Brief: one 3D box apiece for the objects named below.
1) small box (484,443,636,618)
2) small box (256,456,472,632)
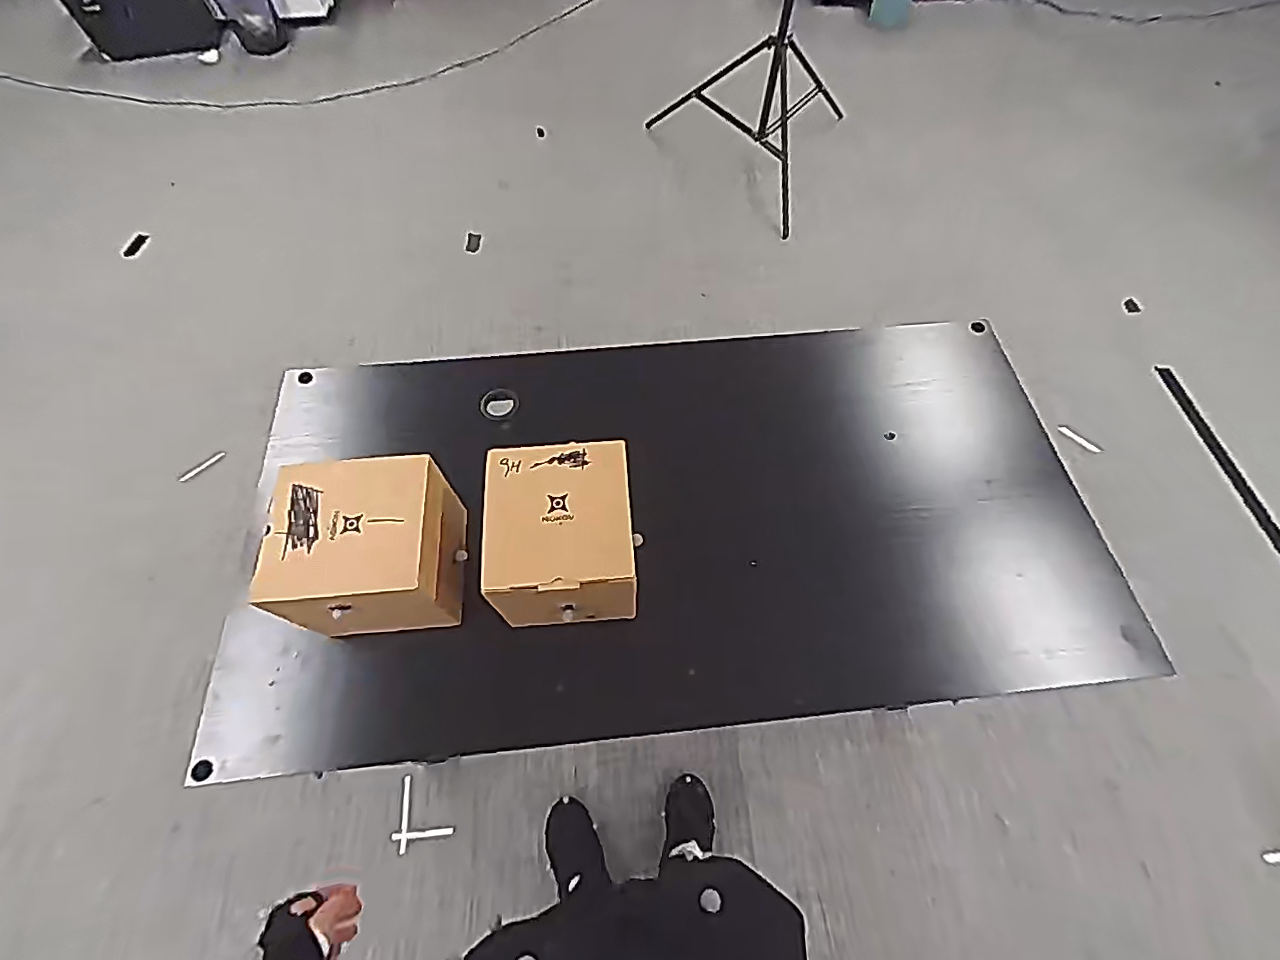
[{"bbox_3d":[-0.091,0.073,0.683,0.168,0.176,0.179,-3,64,-3],"label":"small box"},{"bbox_3d":[-0.323,0.086,0.674,0.179,0.176,0.168,-4,63,-4],"label":"small box"}]
